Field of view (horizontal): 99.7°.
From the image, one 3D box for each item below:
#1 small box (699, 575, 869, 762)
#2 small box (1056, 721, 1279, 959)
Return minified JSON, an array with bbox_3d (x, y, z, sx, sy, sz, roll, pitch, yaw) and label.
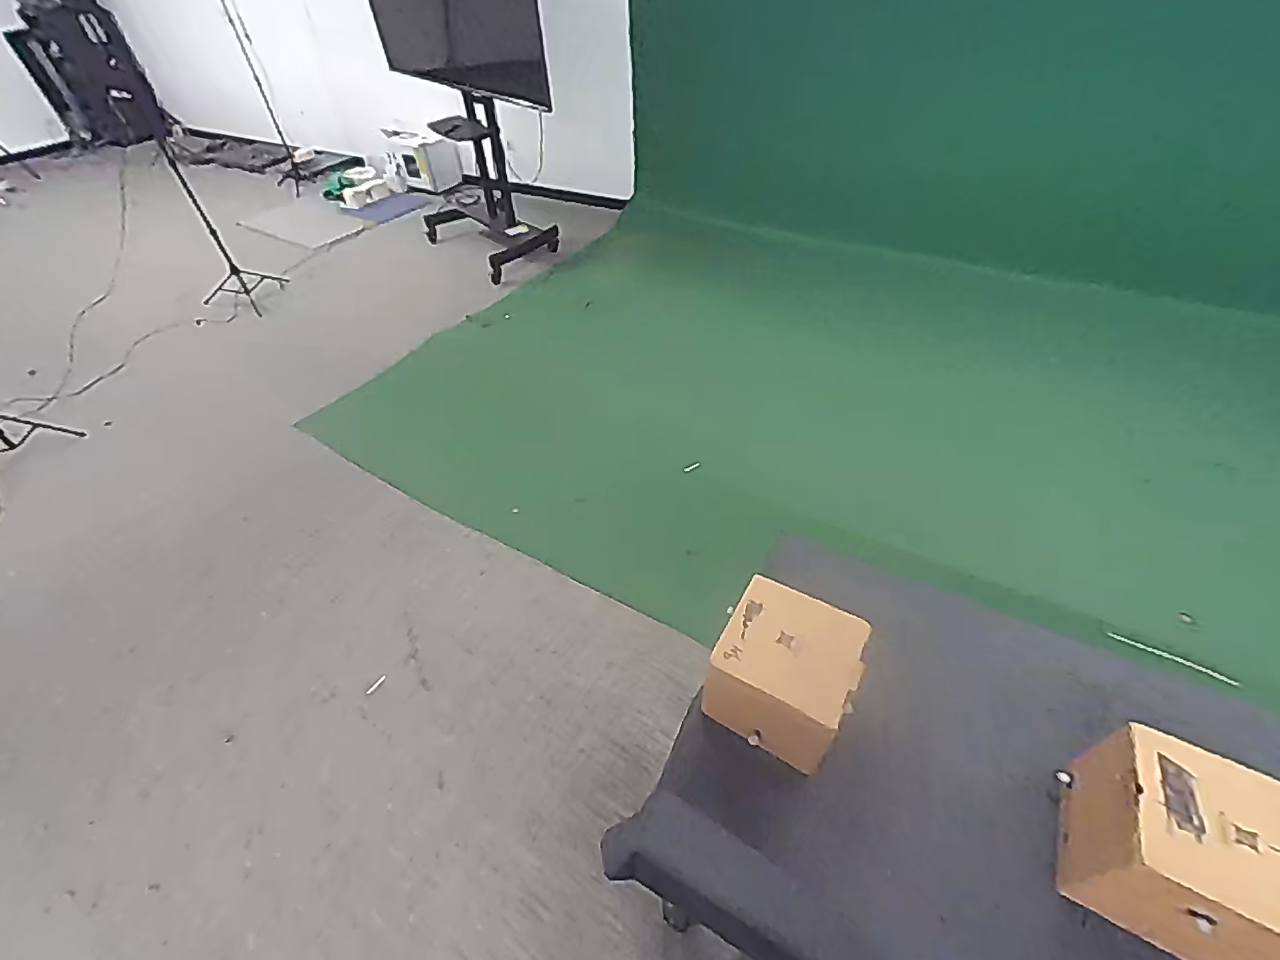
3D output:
[{"bbox_3d":[0.200,0.276,0.780,0.179,0.176,0.168,23,51,22],"label":"small box"},{"bbox_3d":[0.613,0.419,0.615,0.179,0.176,0.168,22,51,22],"label":"small box"}]
